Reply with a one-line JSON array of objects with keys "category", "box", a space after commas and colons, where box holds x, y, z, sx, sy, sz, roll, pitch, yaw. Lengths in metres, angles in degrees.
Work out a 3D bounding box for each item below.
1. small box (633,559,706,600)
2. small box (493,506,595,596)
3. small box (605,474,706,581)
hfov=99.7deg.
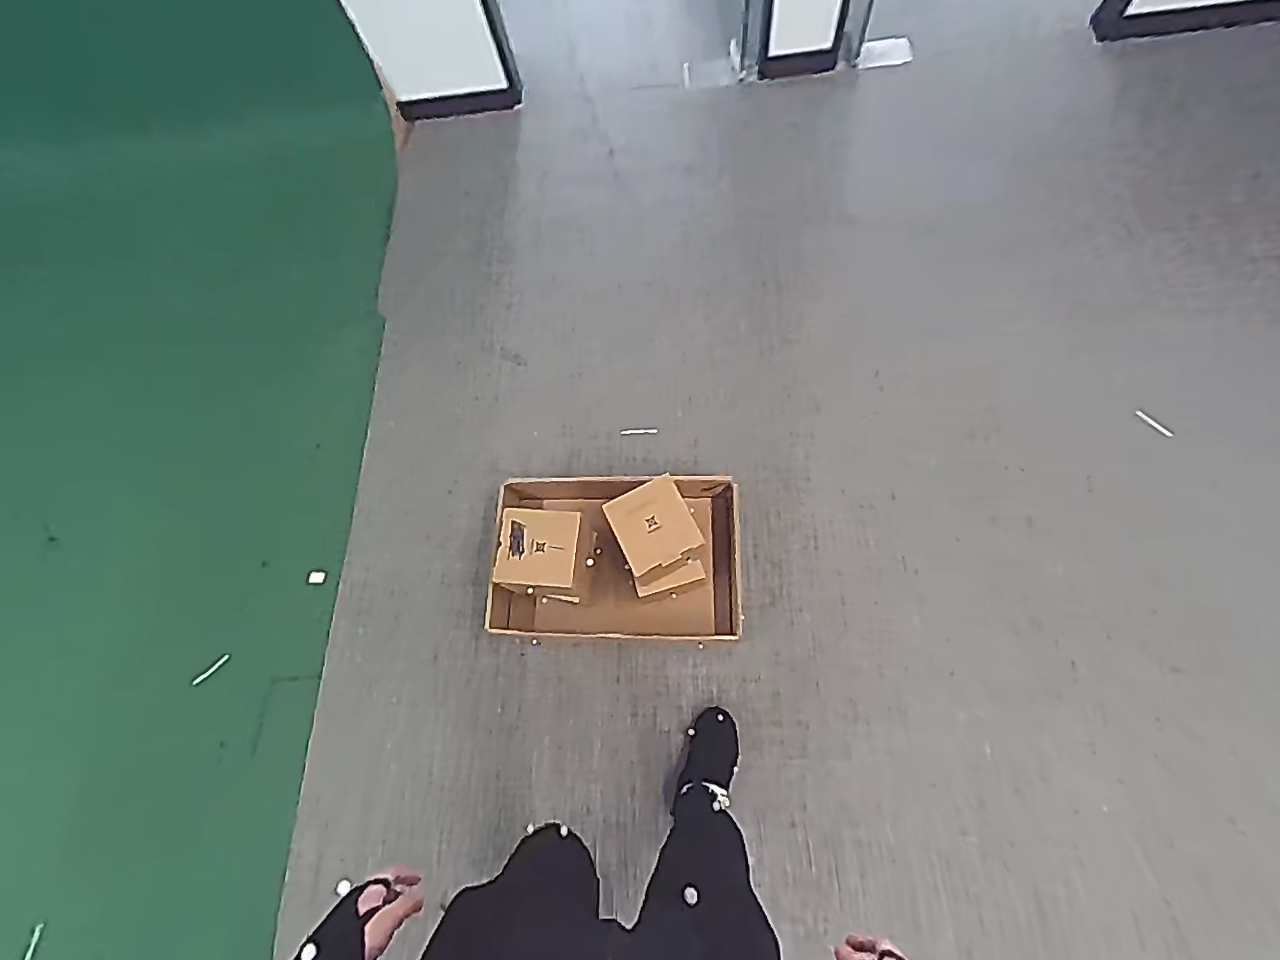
[{"category": "small box", "box": [0.067, 0.197, 1.358, 0.168, 0.176, 0.179, -16, 70, 2]}, {"category": "small box", "box": [-0.208, 0.166, 1.227, 0.179, 0.176, 0.168, 4, 71, 6]}, {"category": "small box", "box": [0.040, 0.116, 1.215, 0.168, 0.176, 0.179, -26, 70, -2]}]
